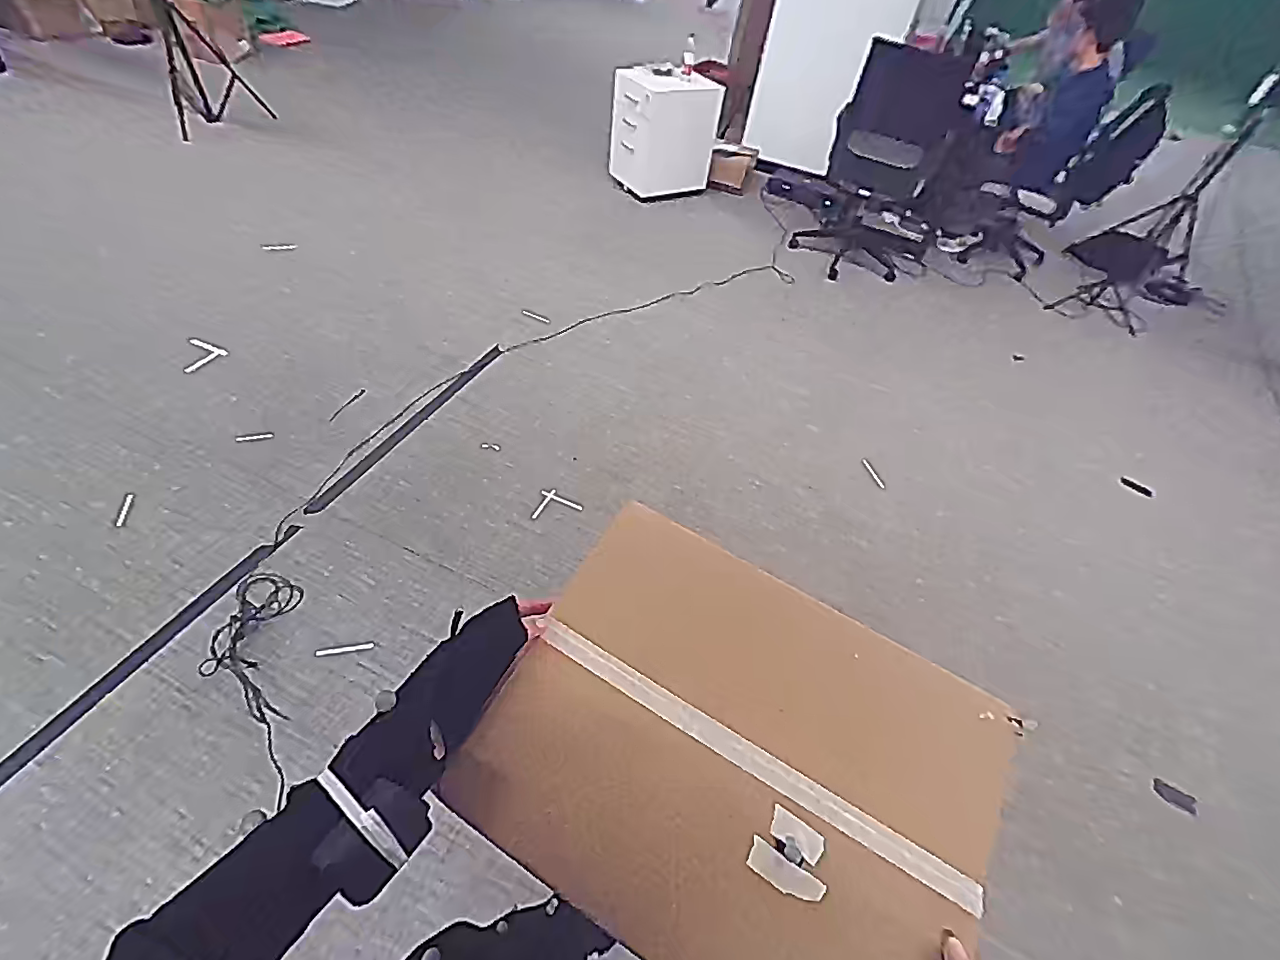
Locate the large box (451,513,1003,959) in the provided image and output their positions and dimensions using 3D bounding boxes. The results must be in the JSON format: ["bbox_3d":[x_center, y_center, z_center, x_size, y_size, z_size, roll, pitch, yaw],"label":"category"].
[{"bbox_3d":[0.079,0.307,0.598,0.408,0.320,0.320,29,64,14],"label":"large box"}]
